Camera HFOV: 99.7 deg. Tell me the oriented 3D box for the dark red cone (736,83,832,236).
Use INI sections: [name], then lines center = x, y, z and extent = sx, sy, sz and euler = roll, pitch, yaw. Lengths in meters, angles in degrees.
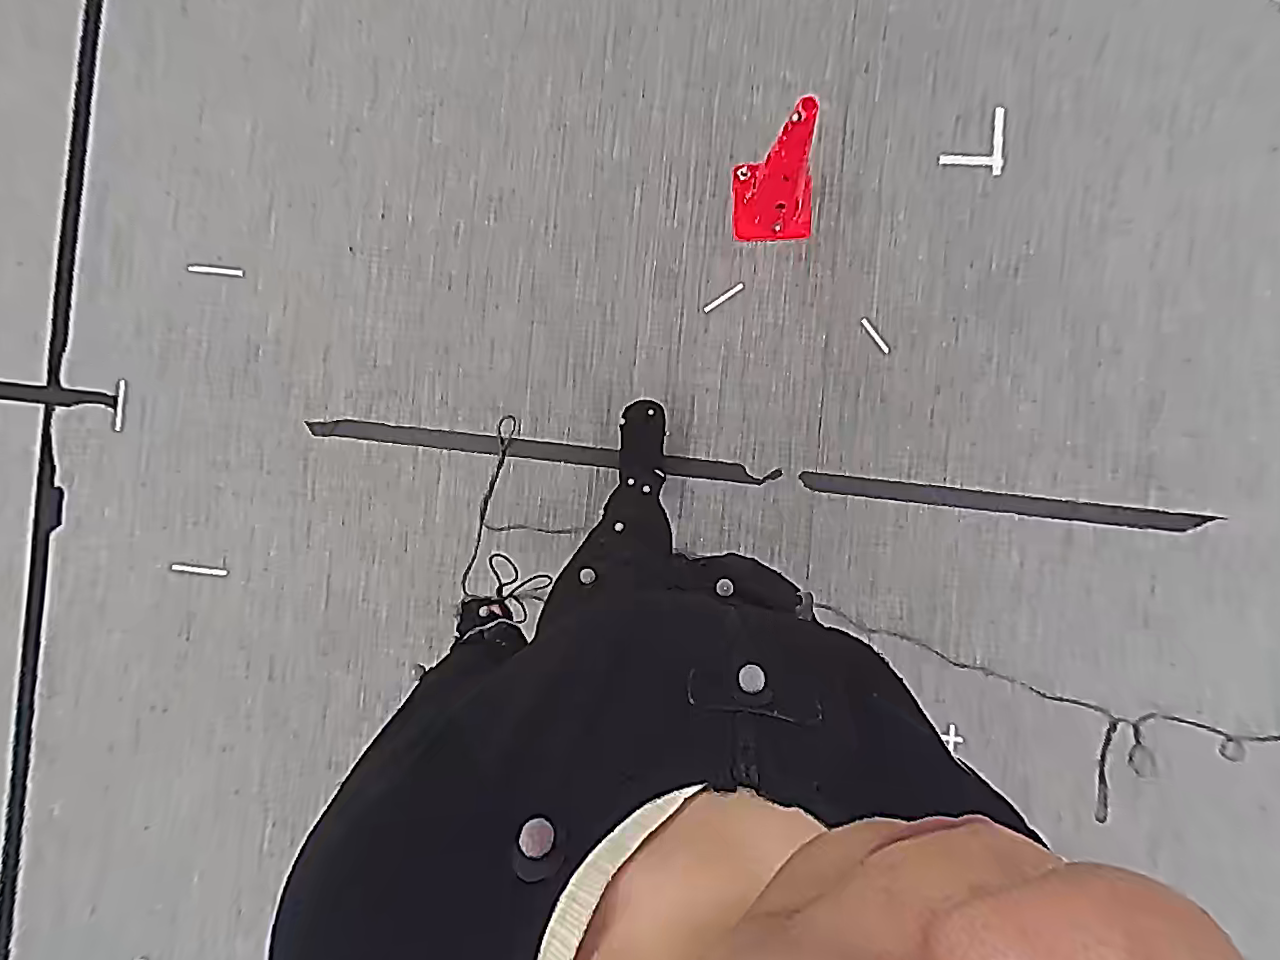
[dark red cone]
center = 0.331, -0.705, 1.174
extent = 0.202, 0.394, 0.201
euler = -2, 90, 2
